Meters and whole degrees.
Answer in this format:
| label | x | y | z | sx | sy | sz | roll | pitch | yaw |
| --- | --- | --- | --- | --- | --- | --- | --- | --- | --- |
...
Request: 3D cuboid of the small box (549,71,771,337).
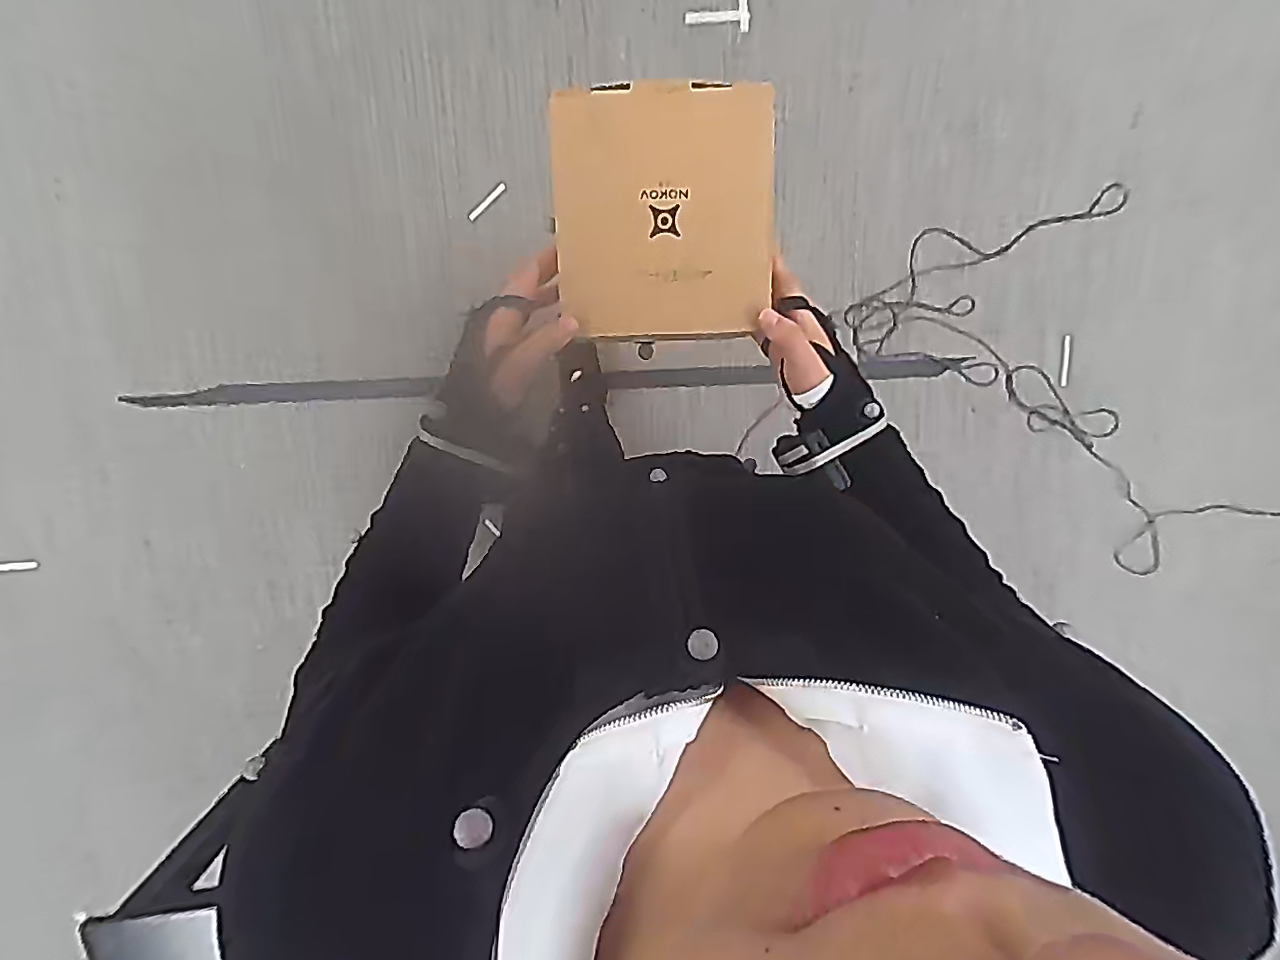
| label | x | y | z | sx | sy | sz | roll | pitch | yaw |
| --- | --- | --- | --- | --- | --- | --- | --- | --- | --- |
| small box | 0.013 | -0.224 | 0.484 | 0.168 | 0.176 | 0.179 | -2 | 102 | -1 |
